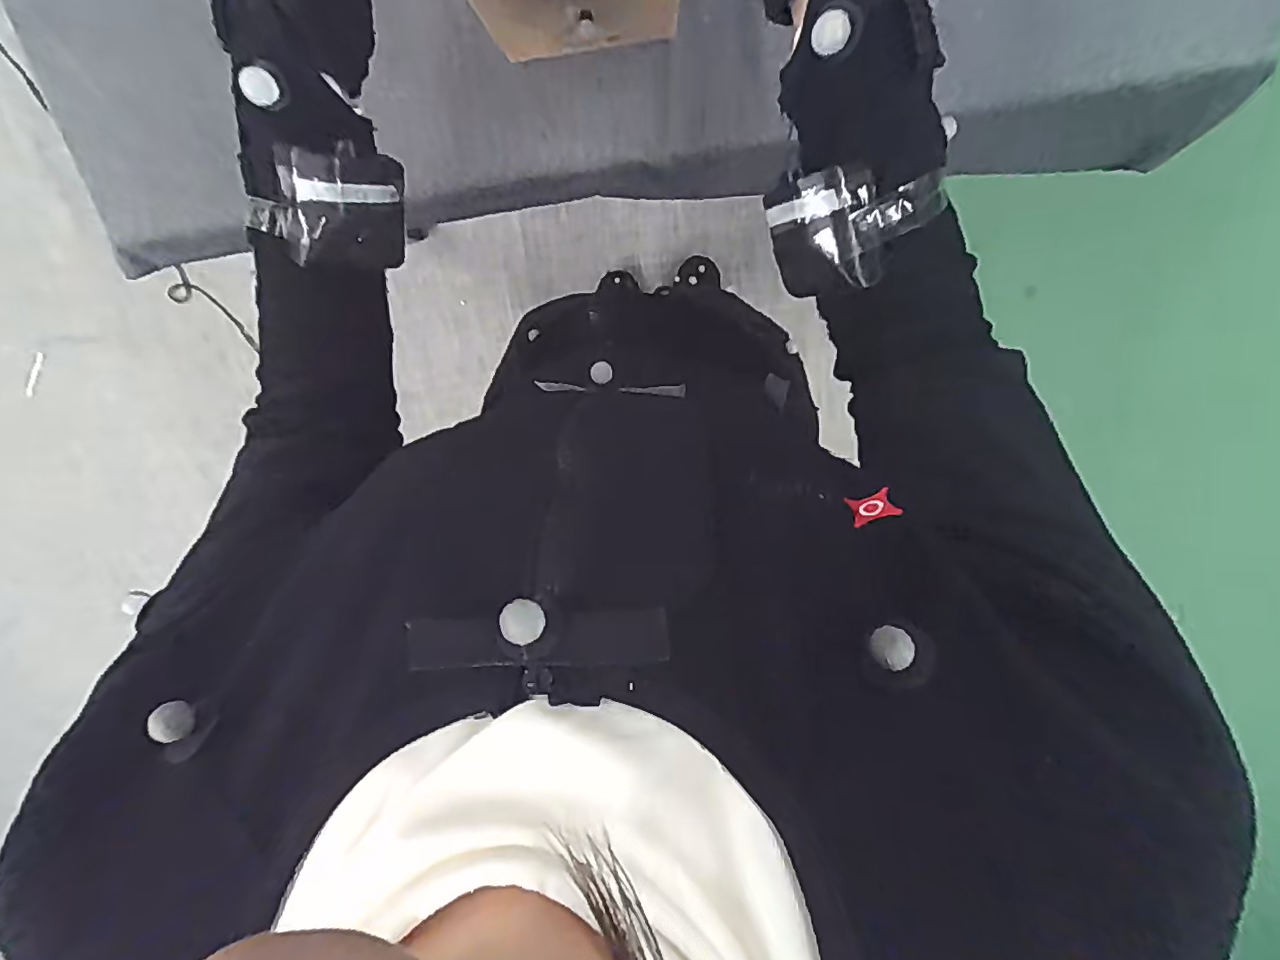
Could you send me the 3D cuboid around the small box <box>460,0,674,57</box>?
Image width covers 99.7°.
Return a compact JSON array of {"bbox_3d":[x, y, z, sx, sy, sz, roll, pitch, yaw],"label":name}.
[{"bbox_3d":[-0.061,-0.468,0.427,0.168,0.176,0.179,-6,112,4],"label":"small box"}]
